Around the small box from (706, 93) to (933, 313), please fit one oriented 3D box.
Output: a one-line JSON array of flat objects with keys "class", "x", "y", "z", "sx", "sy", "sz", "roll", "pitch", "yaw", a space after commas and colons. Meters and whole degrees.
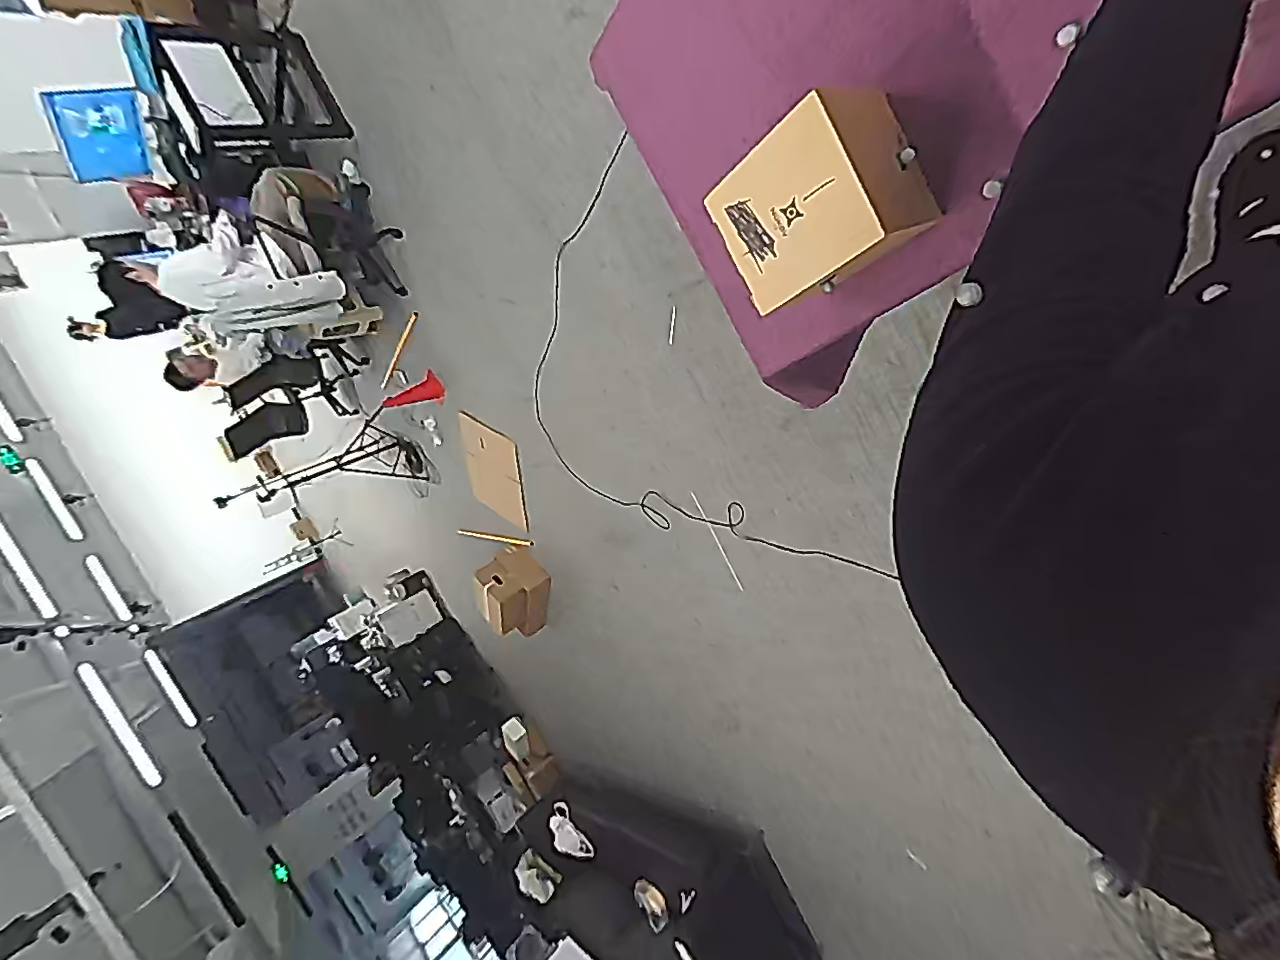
[{"class": "small box", "x": 0.222, "y": -0.334, "z": 0.671, "sx": 0.179, "sy": 0.176, "sz": 0.168, "roll": -23, "pitch": 96, "yaw": 52}]
